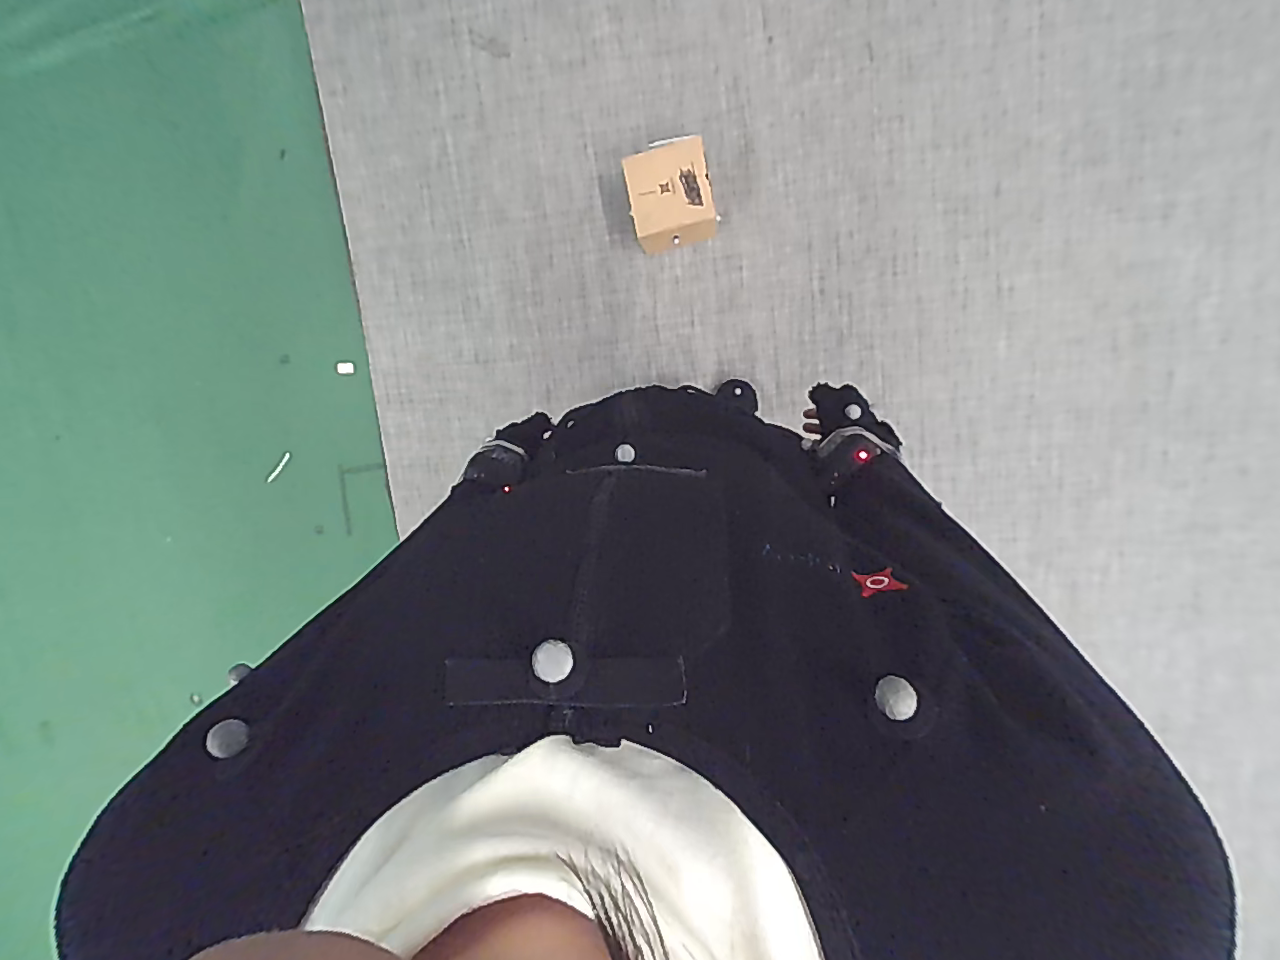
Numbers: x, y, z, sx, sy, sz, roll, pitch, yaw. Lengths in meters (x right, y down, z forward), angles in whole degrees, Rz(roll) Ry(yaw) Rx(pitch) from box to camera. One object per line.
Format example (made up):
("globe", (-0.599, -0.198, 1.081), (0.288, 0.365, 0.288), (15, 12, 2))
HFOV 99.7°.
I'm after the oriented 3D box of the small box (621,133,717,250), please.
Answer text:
("small box", (0.069, -0.644, 1.230), (0.179, 0.176, 0.168), (-14, 99, 10))
